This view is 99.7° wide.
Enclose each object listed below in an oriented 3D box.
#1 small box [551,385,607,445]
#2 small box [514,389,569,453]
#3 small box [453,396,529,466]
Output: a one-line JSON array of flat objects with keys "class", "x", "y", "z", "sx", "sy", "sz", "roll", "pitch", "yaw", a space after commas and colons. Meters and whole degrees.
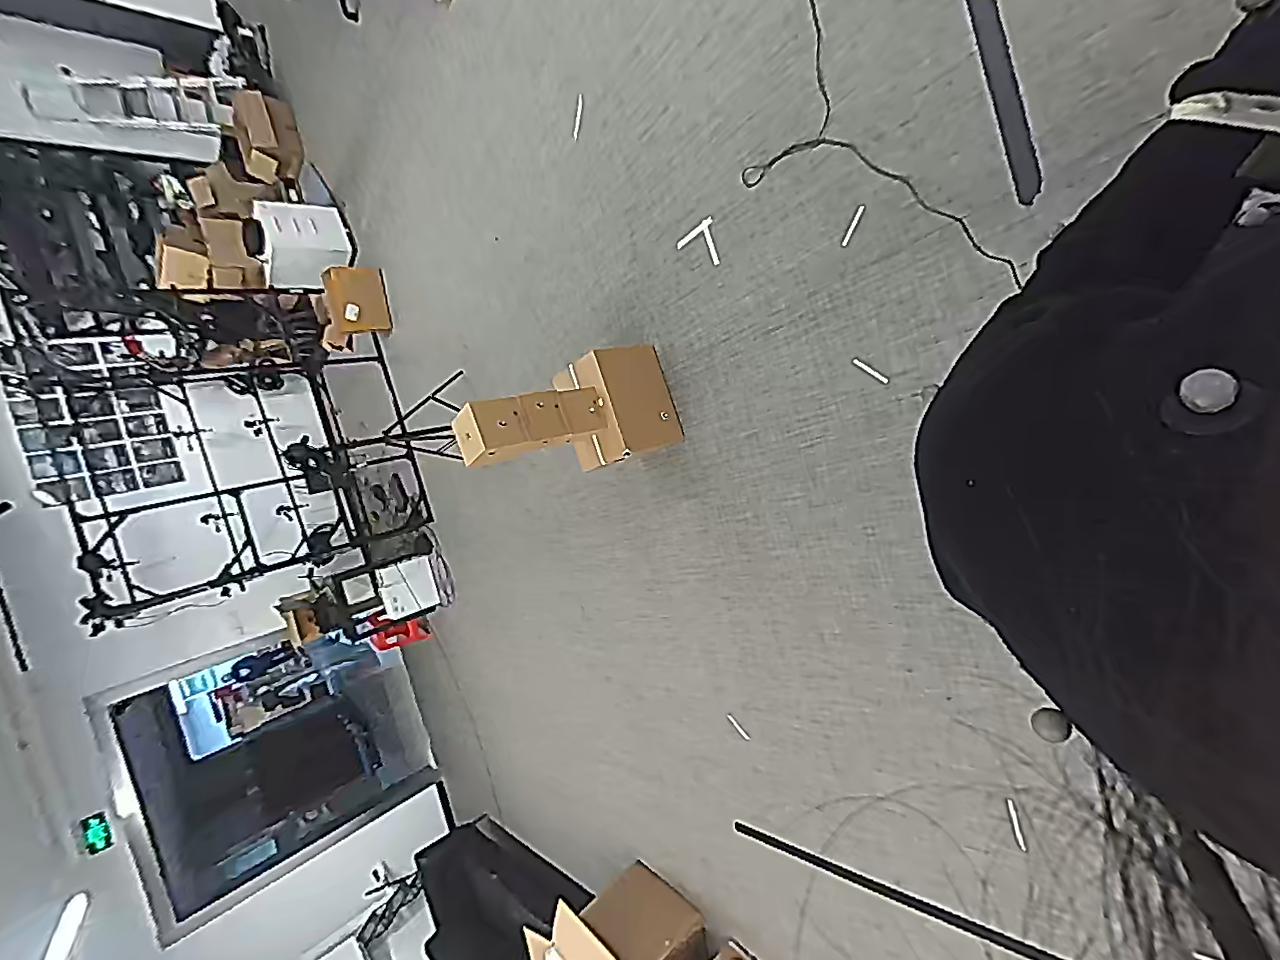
[{"class": "small box", "x": -0.249, "y": -0.240, "z": 1.998, "sx": 0.179, "sy": 0.176, "sz": 0.168, "roll": -20, "pitch": 89, "yaw": 49}, {"class": "small box", "x": -0.366, "y": -0.208, "z": 1.890, "sx": 0.179, "sy": 0.176, "sz": 0.168, "roll": -22, "pitch": 85, "yaw": 51}, {"class": "small box", "x": -0.488, "y": -0.165, "z": 1.787, "sx": 0.179, "sy": 0.176, "sz": 0.168, "roll": -29, "pitch": 80, "yaw": 49}]
